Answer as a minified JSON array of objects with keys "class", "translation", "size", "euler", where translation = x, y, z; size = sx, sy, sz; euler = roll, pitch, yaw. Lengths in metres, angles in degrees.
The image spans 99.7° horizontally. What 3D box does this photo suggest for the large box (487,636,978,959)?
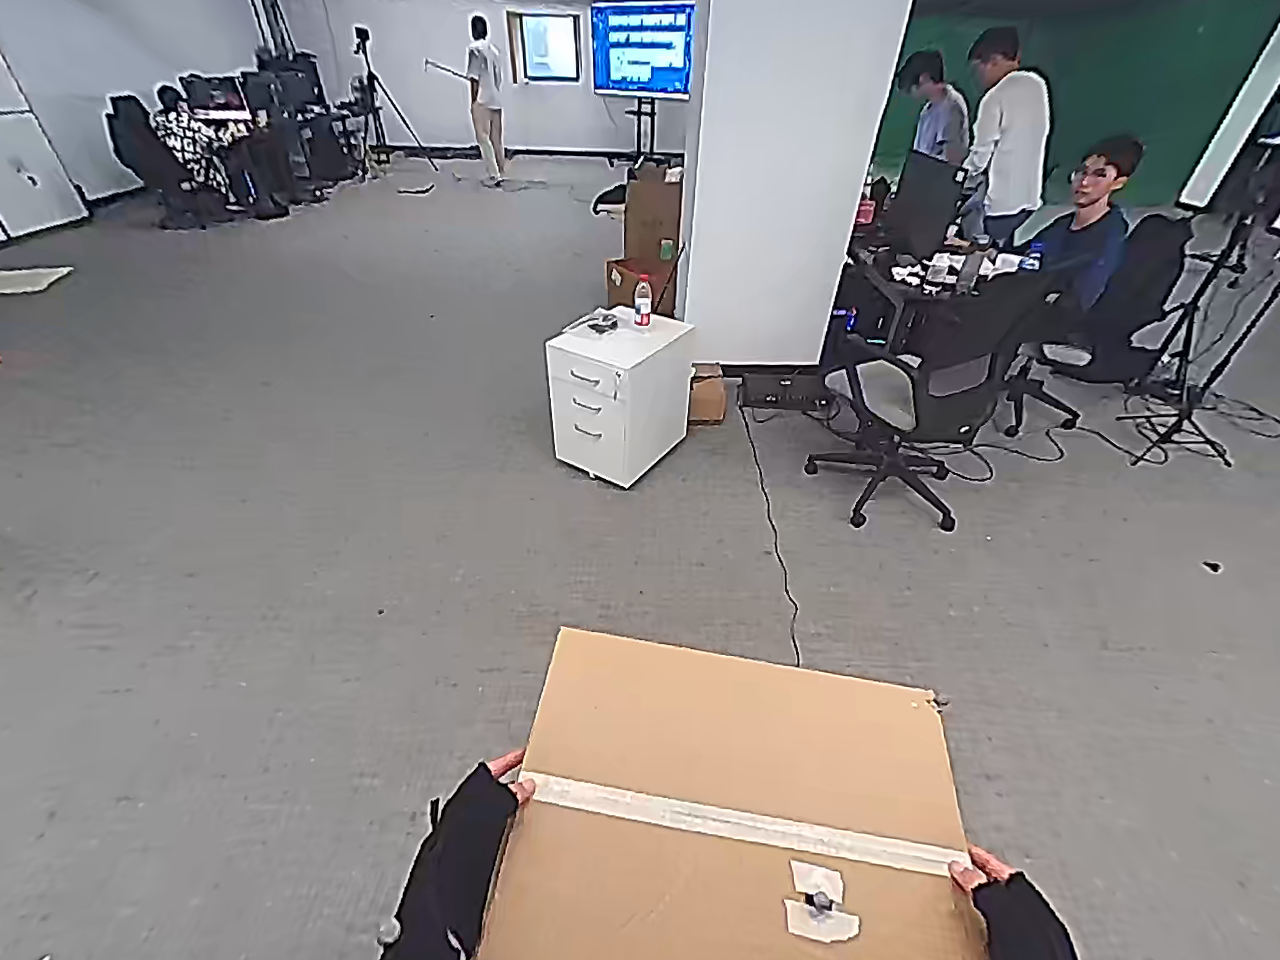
[{"class":"large box","translation":[0.082,0.414,0.609],"size":[0.408,0.320,0.320],"euler":[9,49,3]}]
